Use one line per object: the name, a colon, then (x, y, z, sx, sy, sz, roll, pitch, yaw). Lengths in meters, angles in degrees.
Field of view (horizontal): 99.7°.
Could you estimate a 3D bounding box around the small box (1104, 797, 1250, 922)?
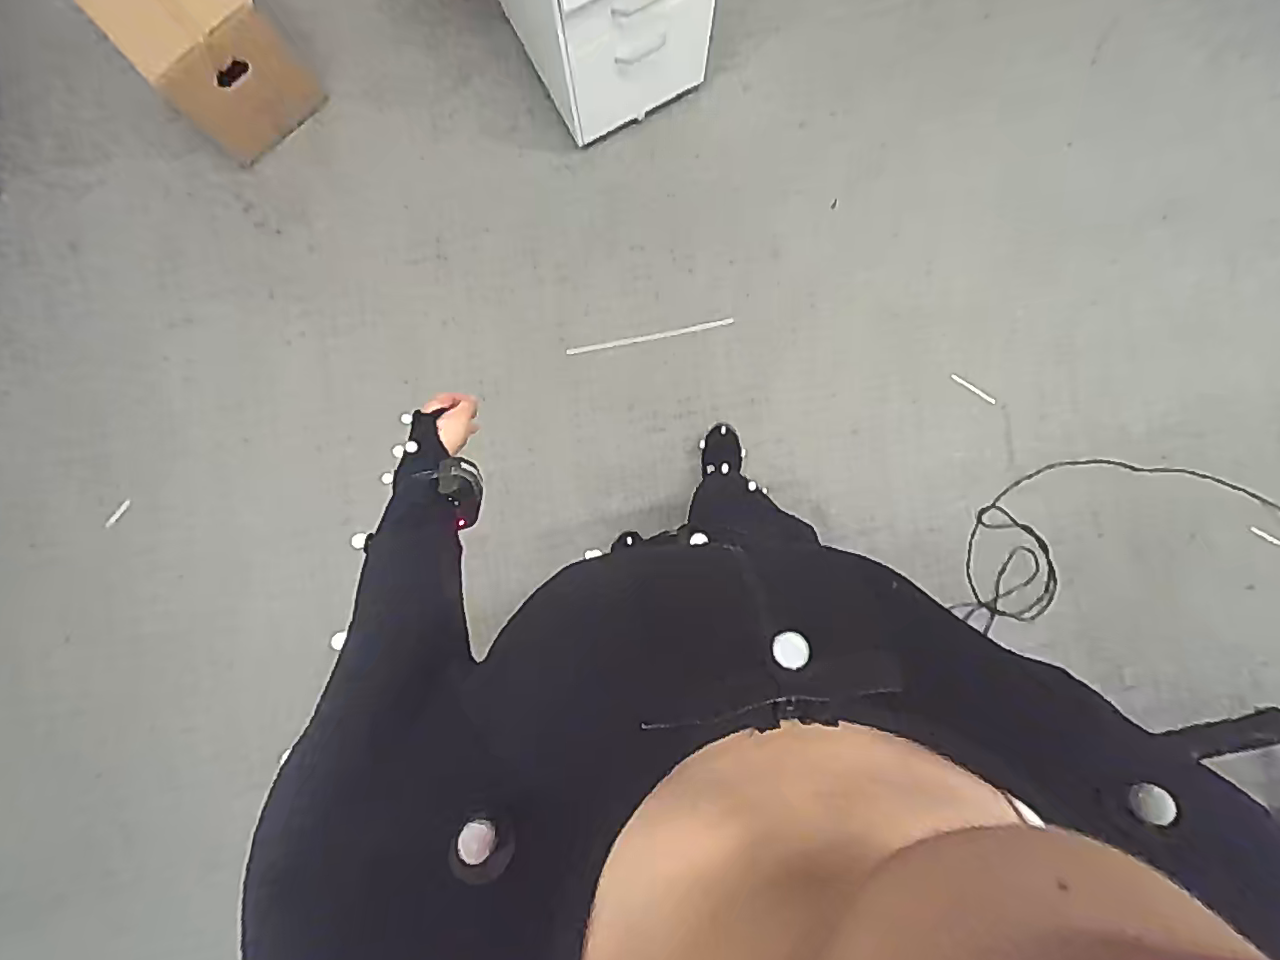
small box: (1.318, 0.926, 1.341, 0.179, 0.176, 0.168, 22, 86, 1)
